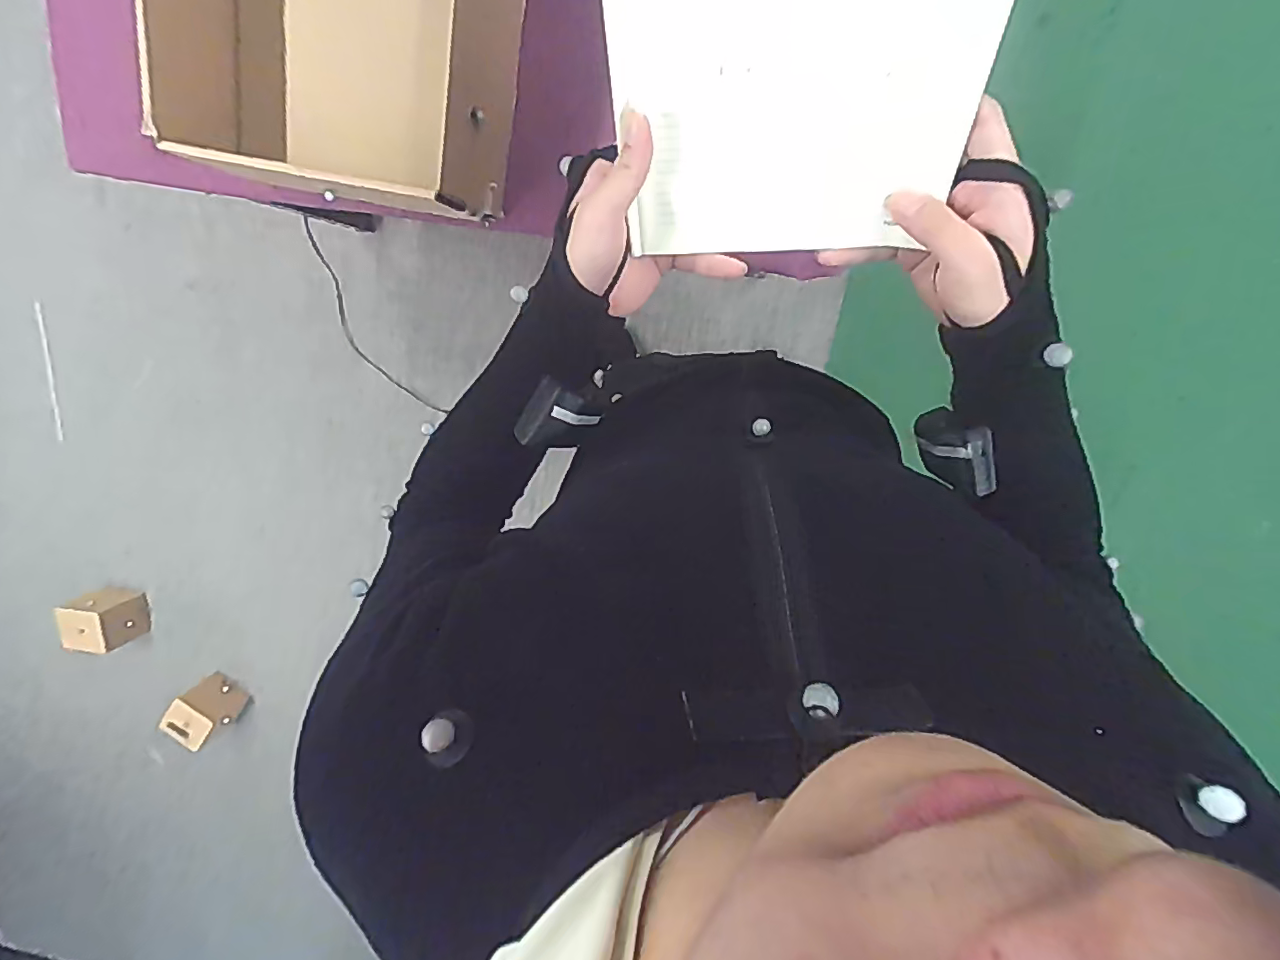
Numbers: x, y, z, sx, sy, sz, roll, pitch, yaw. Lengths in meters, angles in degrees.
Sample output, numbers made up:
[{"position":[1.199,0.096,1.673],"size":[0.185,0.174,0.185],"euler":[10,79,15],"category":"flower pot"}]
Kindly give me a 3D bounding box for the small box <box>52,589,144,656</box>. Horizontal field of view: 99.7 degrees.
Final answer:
[{"position":[-1.962,0.513,1.971],"size":[0.179,0.176,0.168],"euler":[7,105,6],"category":"small box"}]
